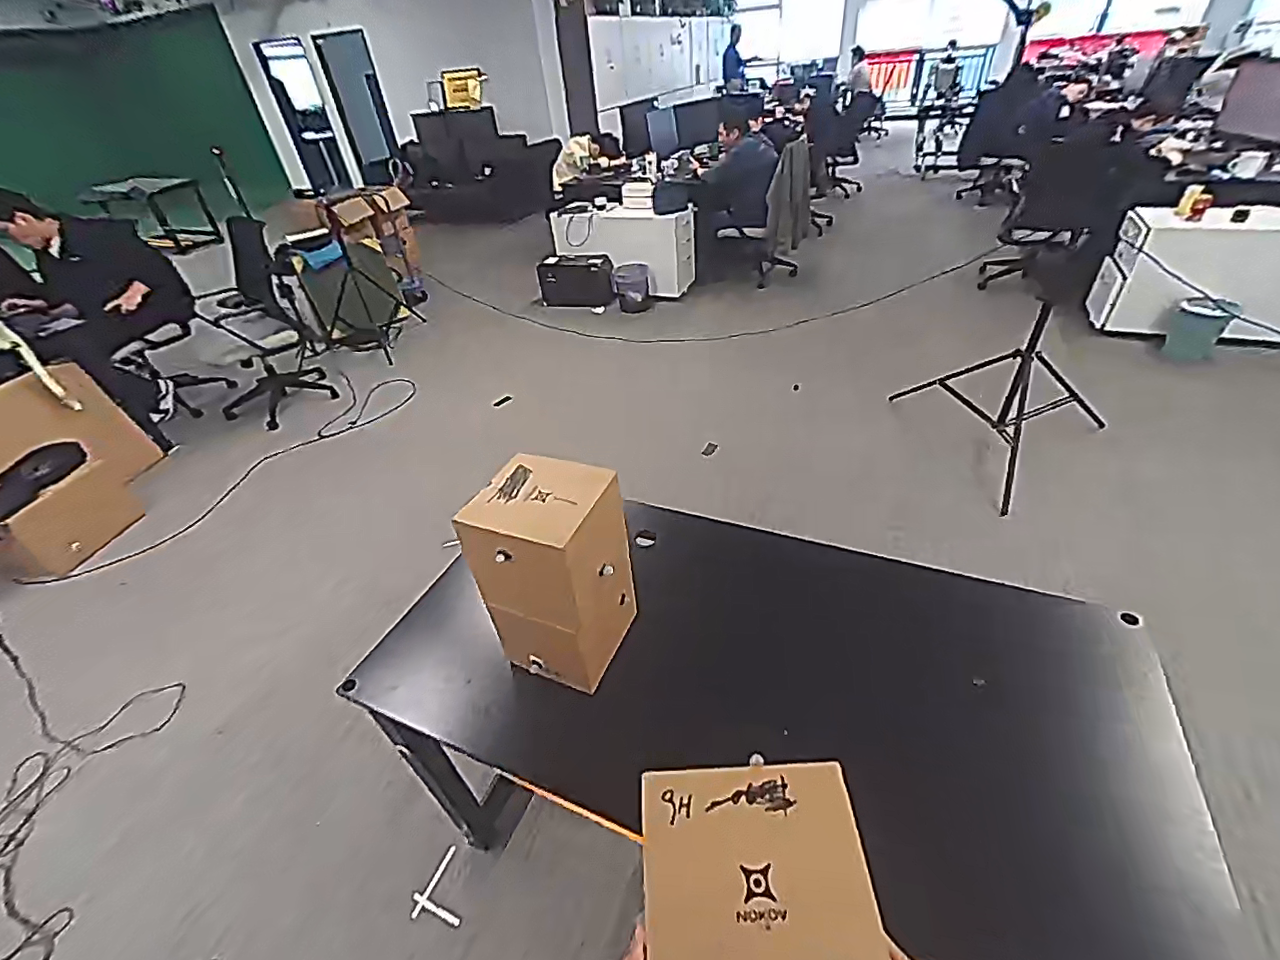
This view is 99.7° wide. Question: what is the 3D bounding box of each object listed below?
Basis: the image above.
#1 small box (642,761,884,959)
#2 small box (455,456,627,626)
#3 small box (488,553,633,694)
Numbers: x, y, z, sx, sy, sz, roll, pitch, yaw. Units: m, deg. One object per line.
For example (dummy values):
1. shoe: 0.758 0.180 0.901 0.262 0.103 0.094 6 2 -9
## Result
1. small box: 0.091 0.356 0.453 0.168 0.176 0.179 -4 47 2
2. small box: -0.133 0.088 0.796 0.179 0.176 0.168 11 41 20
3. small box: -0.119 0.216 0.899 0.168 0.176 0.179 11 42 22
